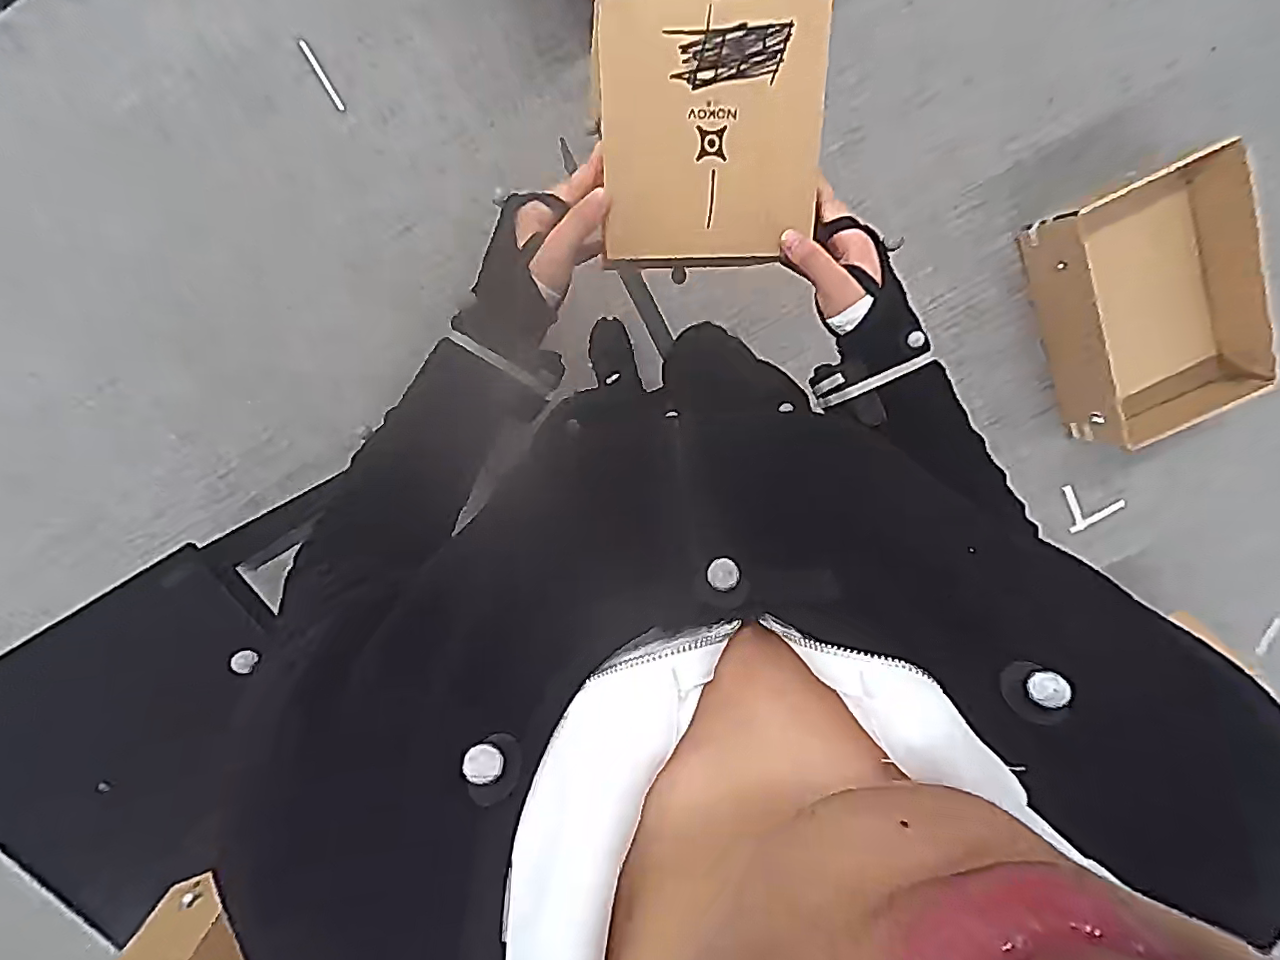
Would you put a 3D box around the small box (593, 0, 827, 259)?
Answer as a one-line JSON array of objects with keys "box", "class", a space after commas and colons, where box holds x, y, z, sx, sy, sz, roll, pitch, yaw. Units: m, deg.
[{"box": [0.045, -0.295, 0.475, 0.168, 0.176, 0.179, -3, 110, -5], "class": "small box"}]
